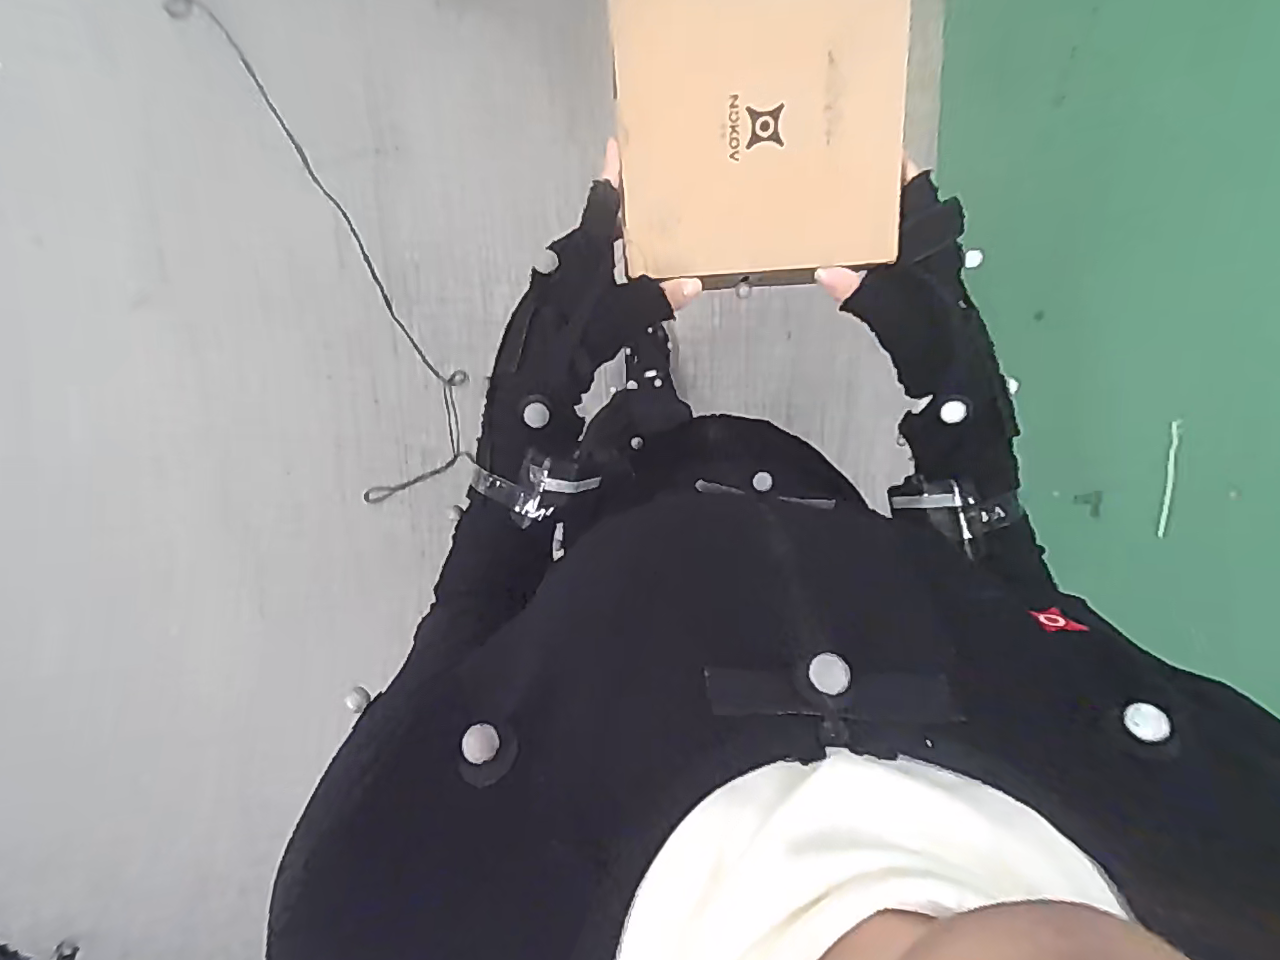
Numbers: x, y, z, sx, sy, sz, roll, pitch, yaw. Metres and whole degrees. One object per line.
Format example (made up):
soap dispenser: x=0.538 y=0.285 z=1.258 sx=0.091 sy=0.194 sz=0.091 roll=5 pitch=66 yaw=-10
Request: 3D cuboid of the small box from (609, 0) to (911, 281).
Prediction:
small box: x=0.077 y=-0.247 z=0.407 sx=0.179 sy=0.176 sz=0.168 roll=-4 pitch=108 yaw=2
